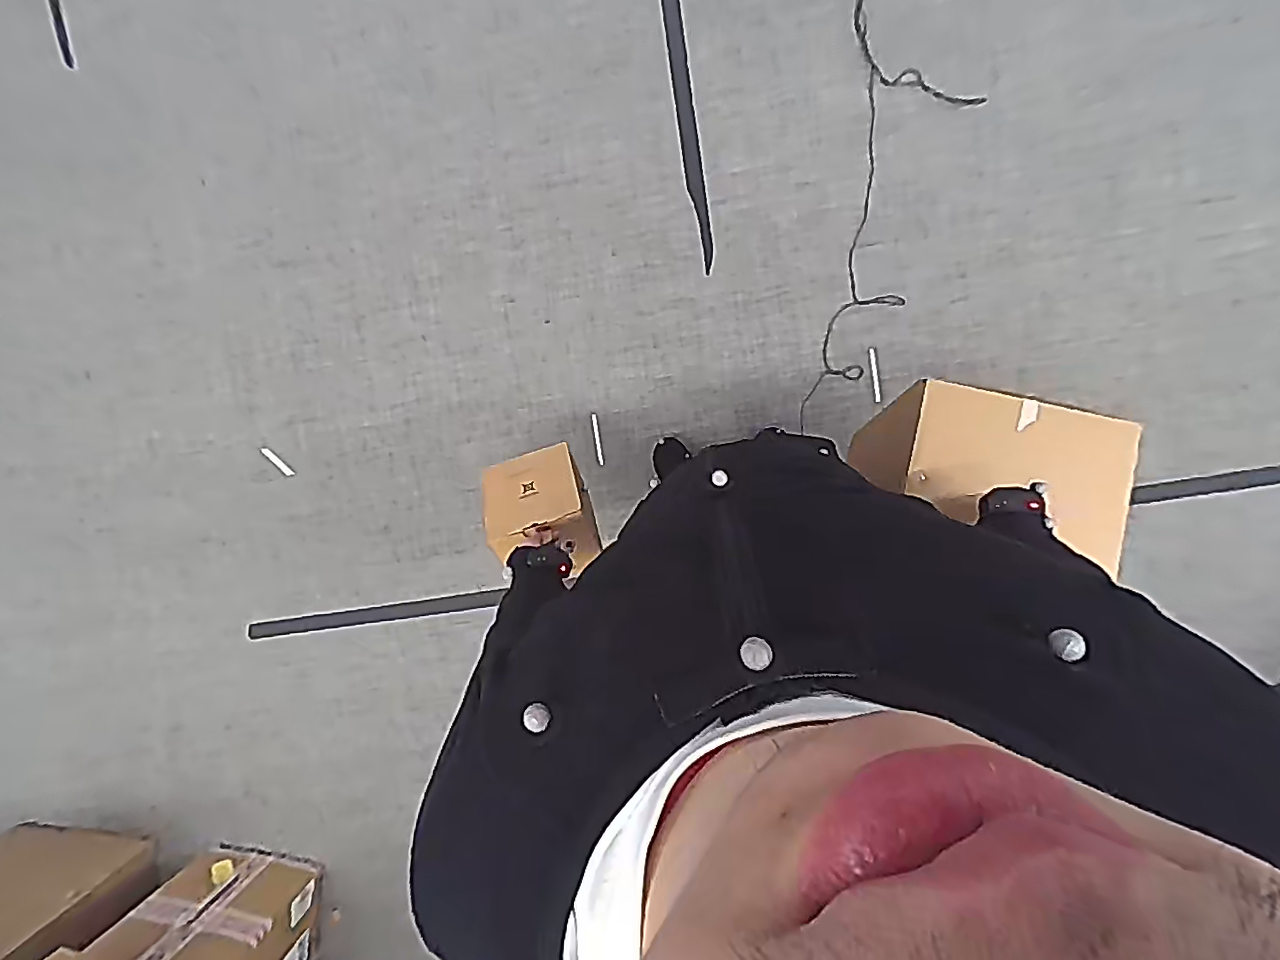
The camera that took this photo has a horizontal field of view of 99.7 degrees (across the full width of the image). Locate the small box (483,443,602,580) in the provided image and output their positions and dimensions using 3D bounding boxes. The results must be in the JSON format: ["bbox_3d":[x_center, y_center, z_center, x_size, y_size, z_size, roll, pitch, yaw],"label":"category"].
[{"bbox_3d":[-0.179,0.067,1.008,0.168,0.176,0.179,-18,48,-2],"label":"small box"}]
